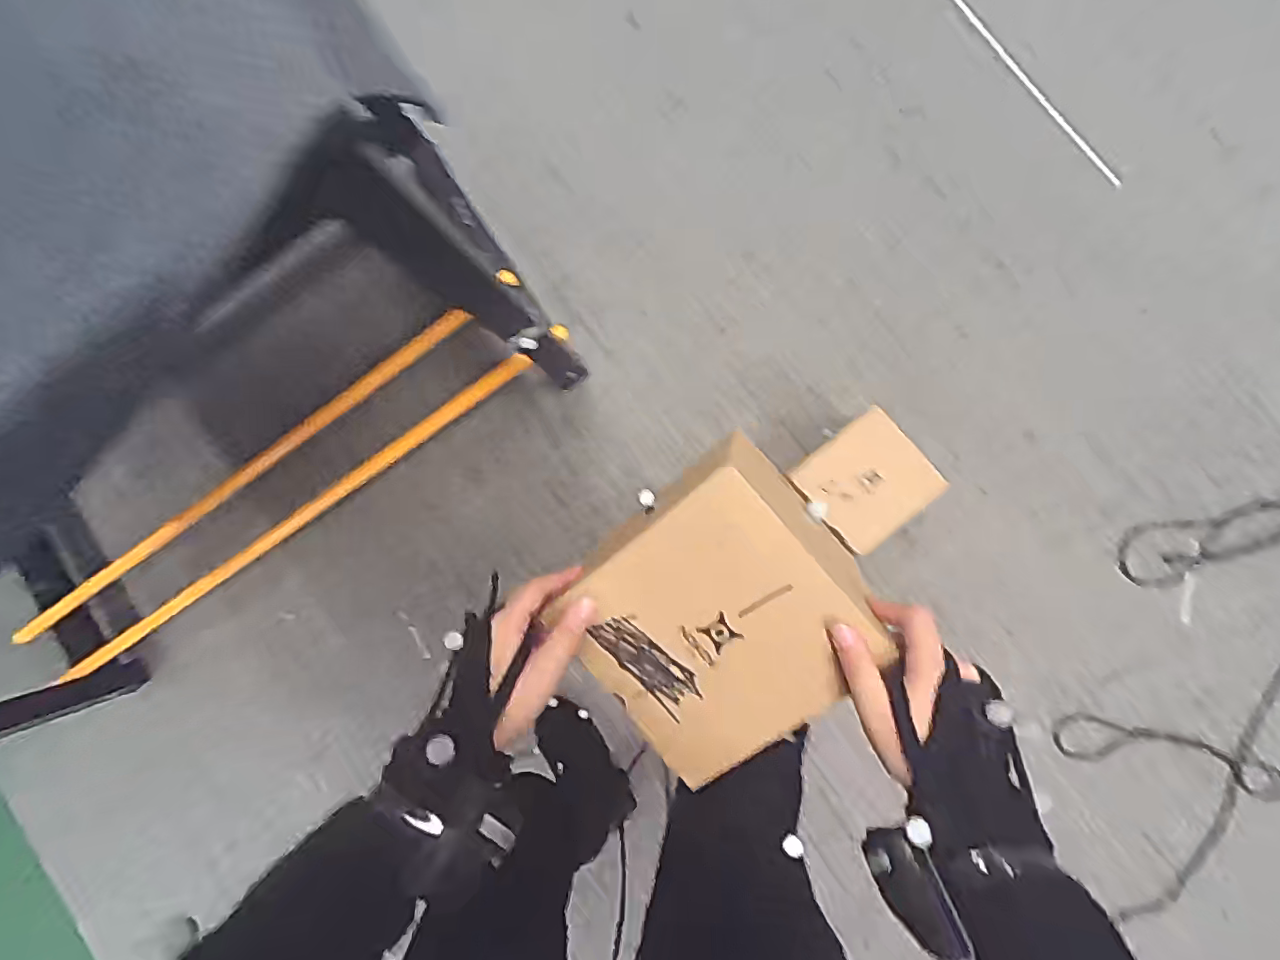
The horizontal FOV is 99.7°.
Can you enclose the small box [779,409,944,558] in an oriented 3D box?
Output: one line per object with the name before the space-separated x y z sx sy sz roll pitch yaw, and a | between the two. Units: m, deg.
small box | 0.357 0.006 0.911 0.179 0.176 0.168 -40 84 4
